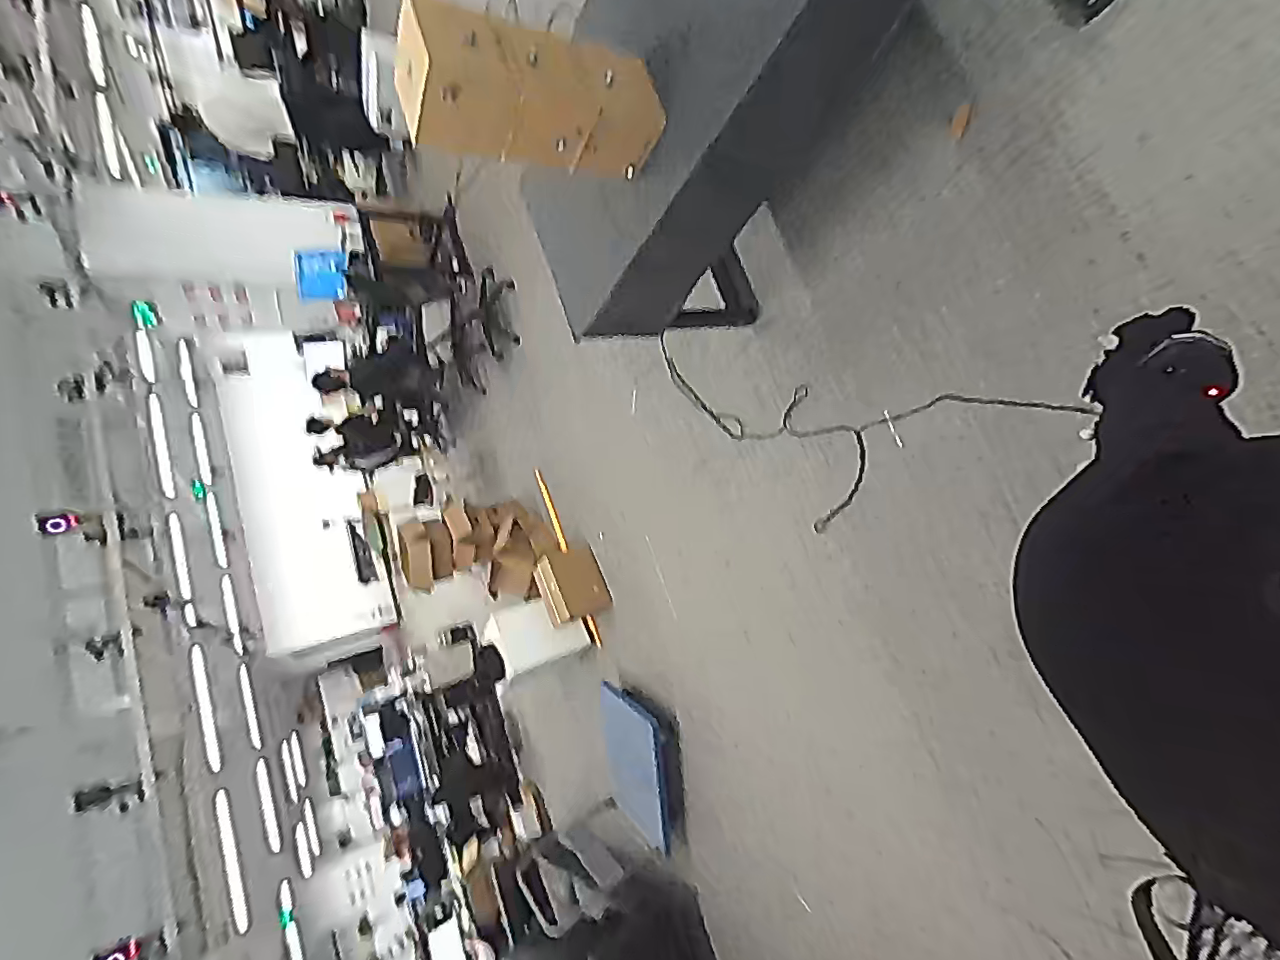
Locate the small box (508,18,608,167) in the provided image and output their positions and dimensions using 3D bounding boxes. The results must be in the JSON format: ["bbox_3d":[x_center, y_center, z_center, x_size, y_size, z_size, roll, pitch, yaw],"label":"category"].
[{"bbox_3d":[-0.189,-0.776,1.105,0.168,0.176,0.179,-36,70,55],"label":"small box"}]

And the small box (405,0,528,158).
[{"bbox_3d":[-0.323,-0.746,1.014,0.179,0.176,0.168,-34,72,56],"label":"small box"}]

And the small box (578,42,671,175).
[{"bbox_3d":[-0.055,-0.804,1.192,0.168,0.176,0.179,-36,68,55],"label":"small box"}]
